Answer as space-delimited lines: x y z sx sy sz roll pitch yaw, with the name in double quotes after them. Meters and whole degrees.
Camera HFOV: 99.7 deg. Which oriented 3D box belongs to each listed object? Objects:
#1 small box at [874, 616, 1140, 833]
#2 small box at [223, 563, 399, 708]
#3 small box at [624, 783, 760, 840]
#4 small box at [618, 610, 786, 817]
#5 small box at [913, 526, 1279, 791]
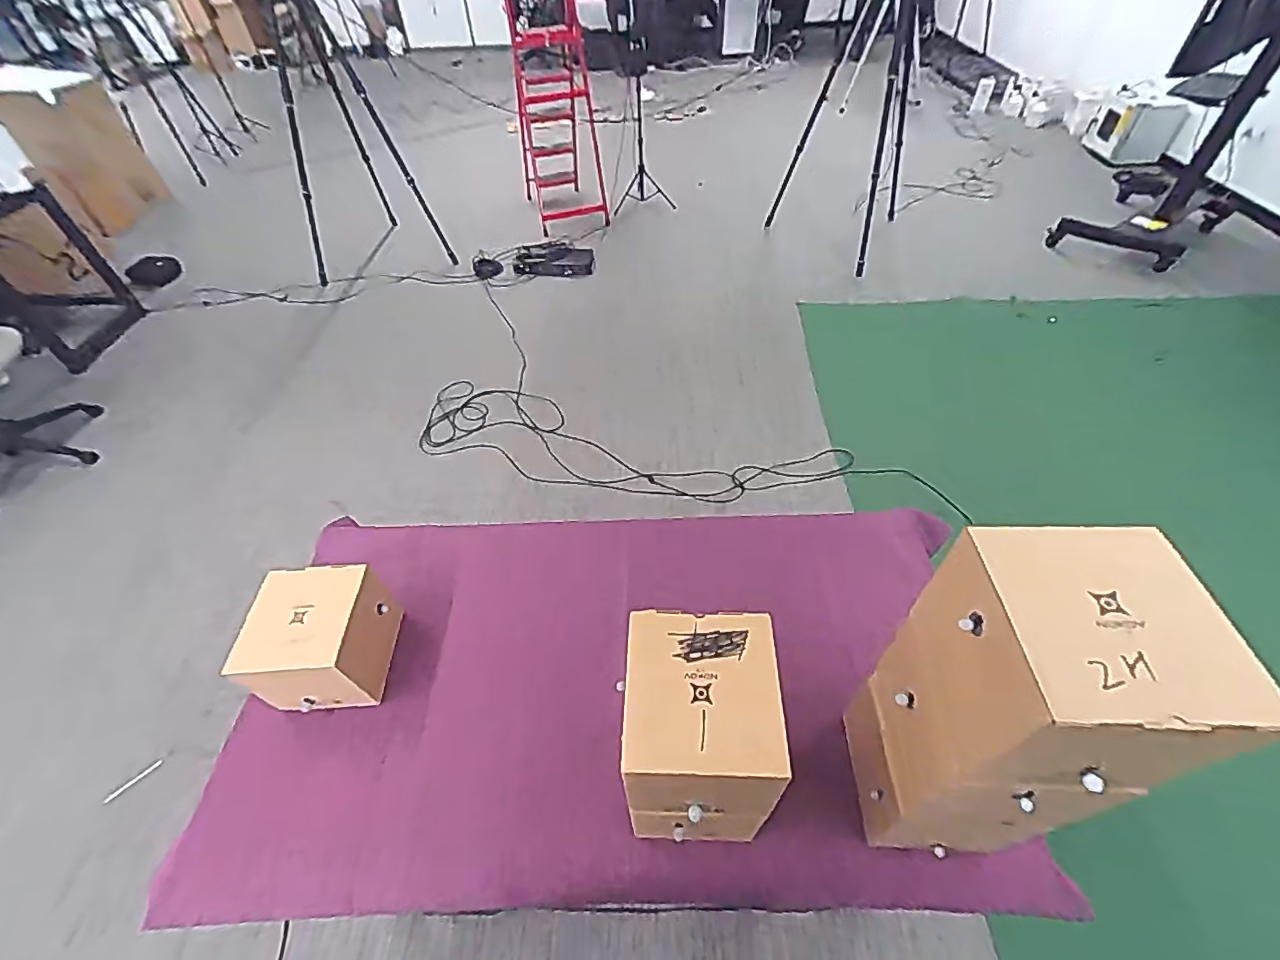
0.382 0.274 0.611 0.168 0.176 0.179 0 47 5 "small box"
-0.522 0.258 0.894 0.168 0.176 0.179 -4 49 0 "small box"
0.071 0.385 0.753 0.168 0.176 0.179 0 47 4 "small box"
0.066 0.273 0.633 0.168 0.176 0.179 0 48 4 "small box"
0.374 0.161 0.491 0.168 0.176 0.179 0 49 5 "small box"
